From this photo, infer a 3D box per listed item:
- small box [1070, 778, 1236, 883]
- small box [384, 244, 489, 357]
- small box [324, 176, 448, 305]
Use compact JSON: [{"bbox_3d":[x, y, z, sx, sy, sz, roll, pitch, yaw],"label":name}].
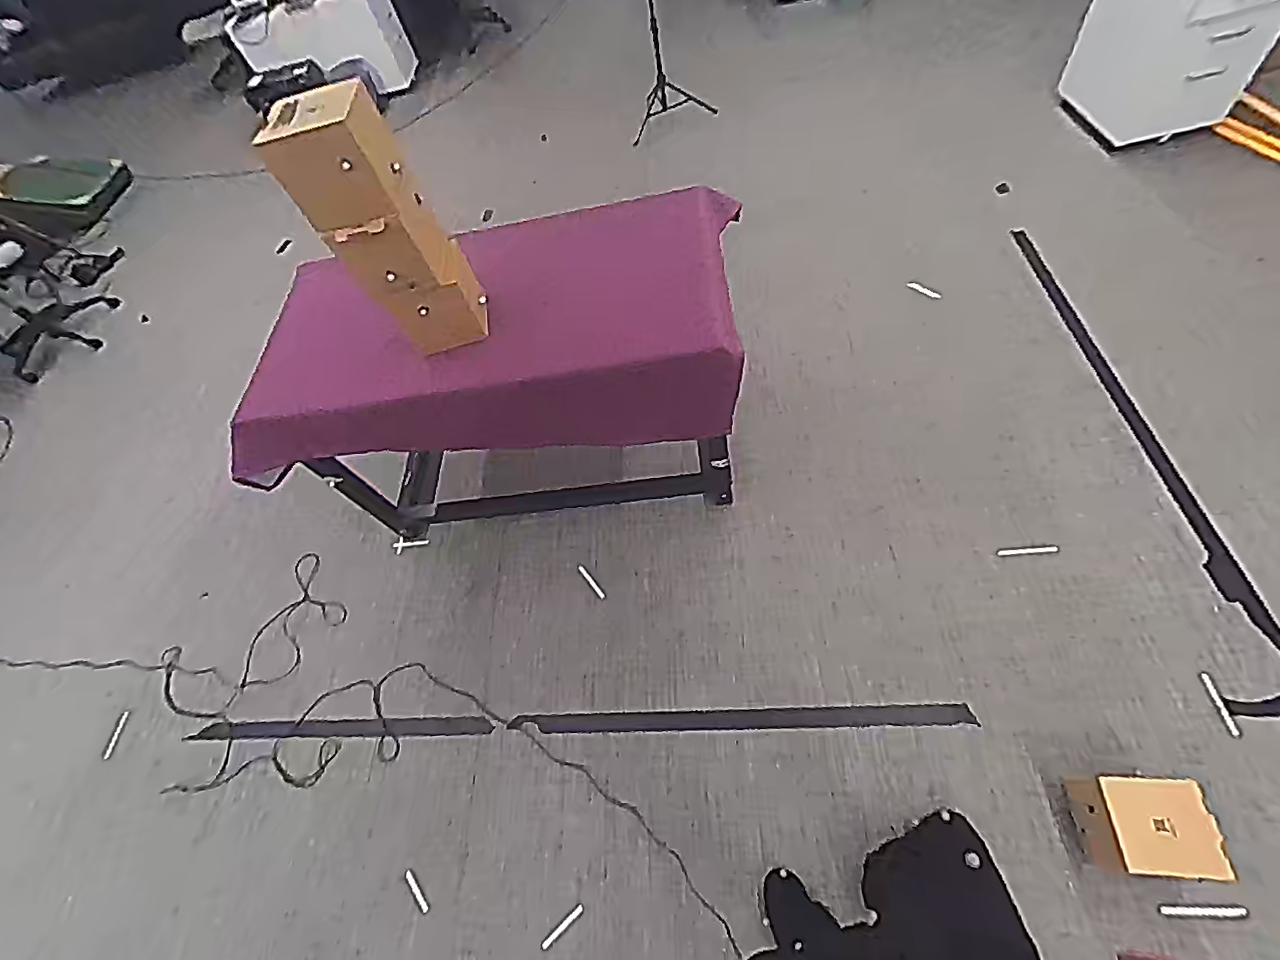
[{"bbox_3d":[1.038,0.721,1.122,0.179,0.176,0.168,-3,59,11],"label":"small box"},{"bbox_3d":[-0.477,-0.421,1.288,0.179,0.176,0.168,-15,57,3],"label":"small box"},{"bbox_3d":[-0.530,-0.508,1.156,0.168,0.176,0.179,-12,57,7],"label":"small box"}]
